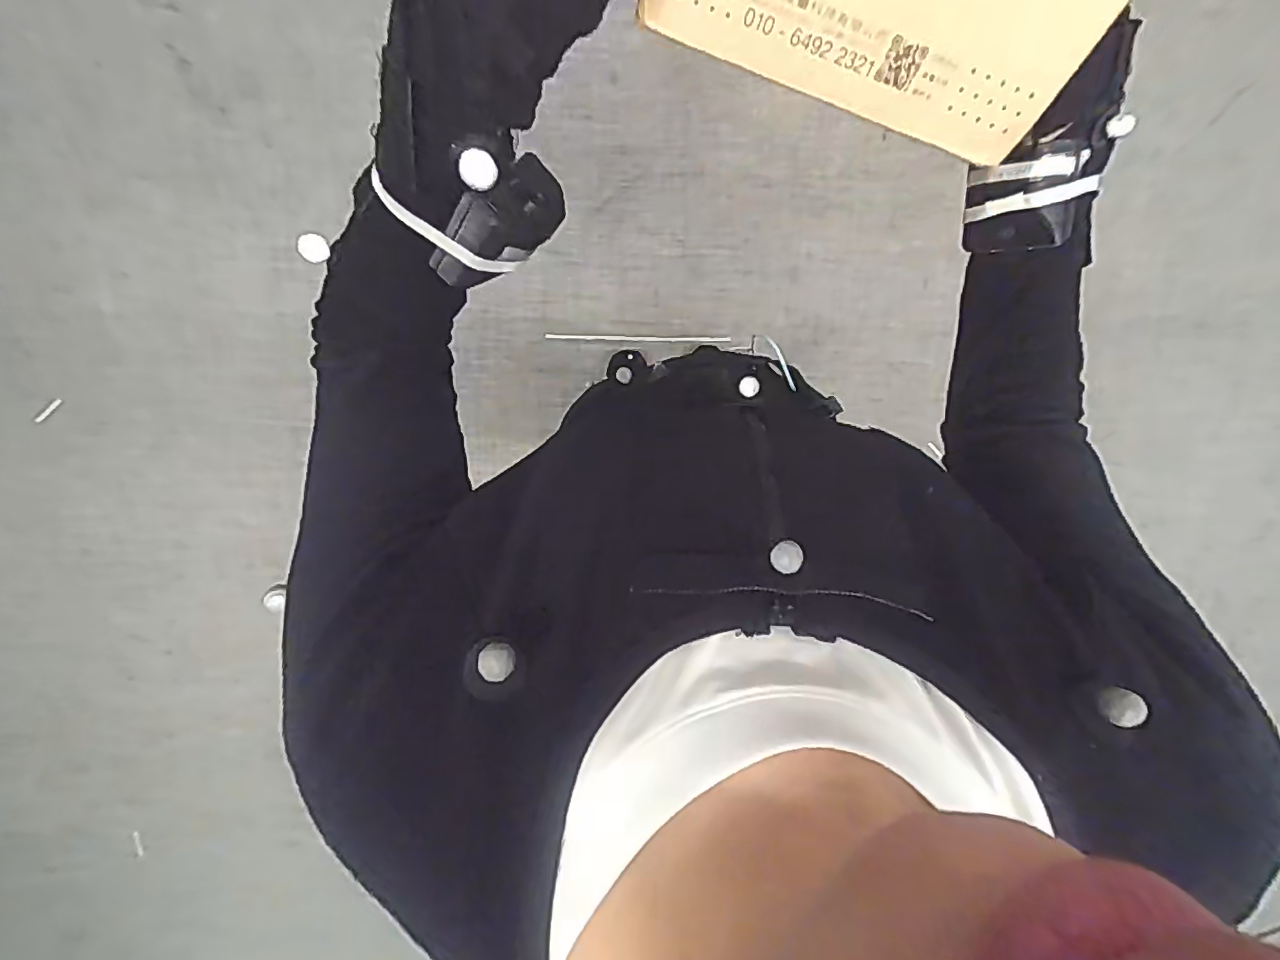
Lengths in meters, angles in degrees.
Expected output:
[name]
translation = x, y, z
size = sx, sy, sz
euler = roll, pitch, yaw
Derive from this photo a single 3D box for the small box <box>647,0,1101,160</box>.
[small box]
translation = 0.110, -0.272, 0.225
size = 0.168, 0.179, 0.176
euler = 17, 139, -5
